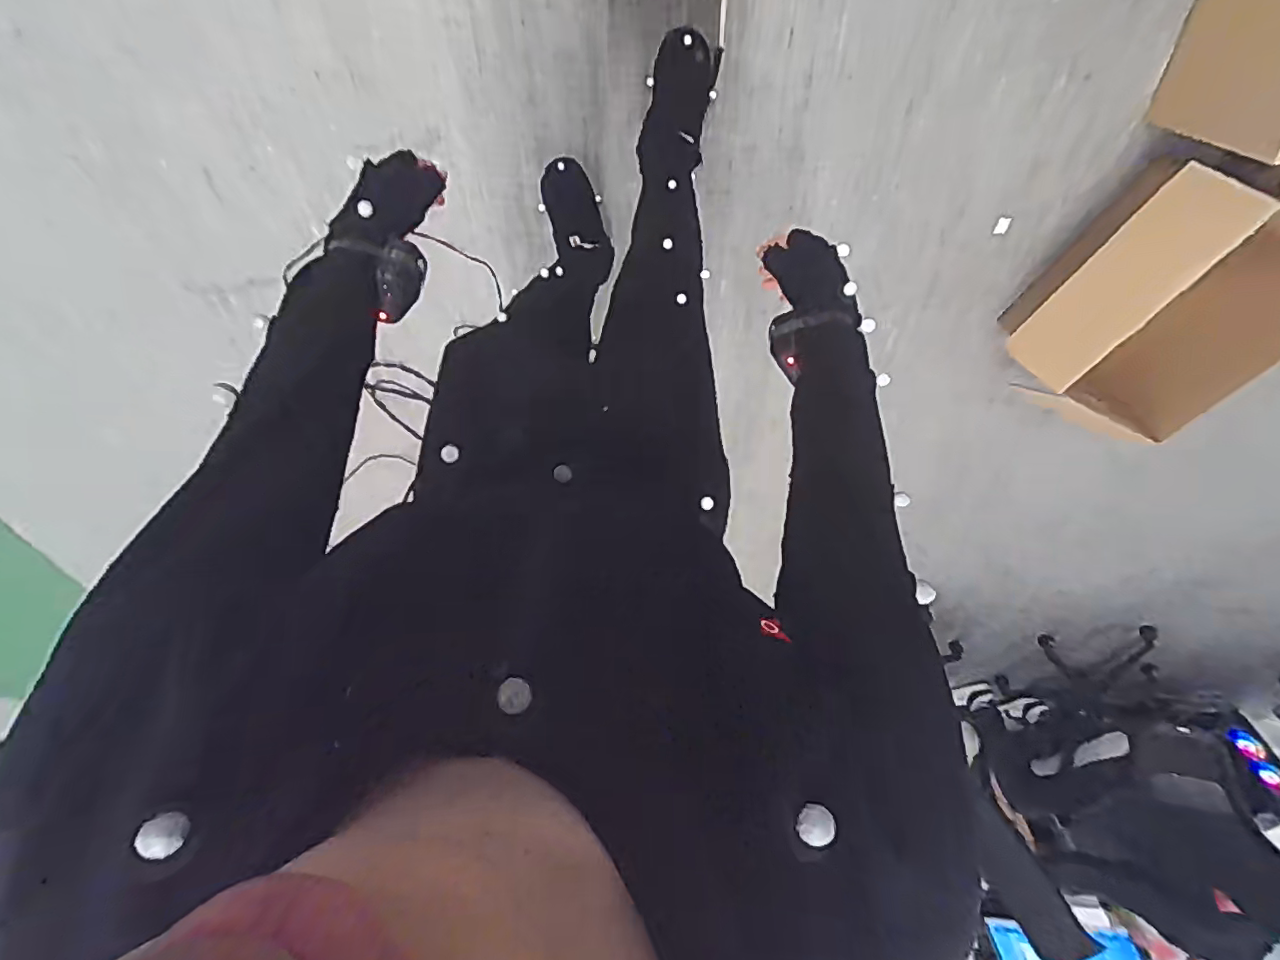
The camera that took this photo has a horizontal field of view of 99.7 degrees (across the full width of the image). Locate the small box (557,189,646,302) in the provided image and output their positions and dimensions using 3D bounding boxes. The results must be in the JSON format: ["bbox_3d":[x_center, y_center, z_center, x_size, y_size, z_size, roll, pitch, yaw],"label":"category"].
[{"bbox_3d":[-0.090,-0.510,1.179,0.168,0.176,0.179,-5,137,-11],"label":"small box"}]
